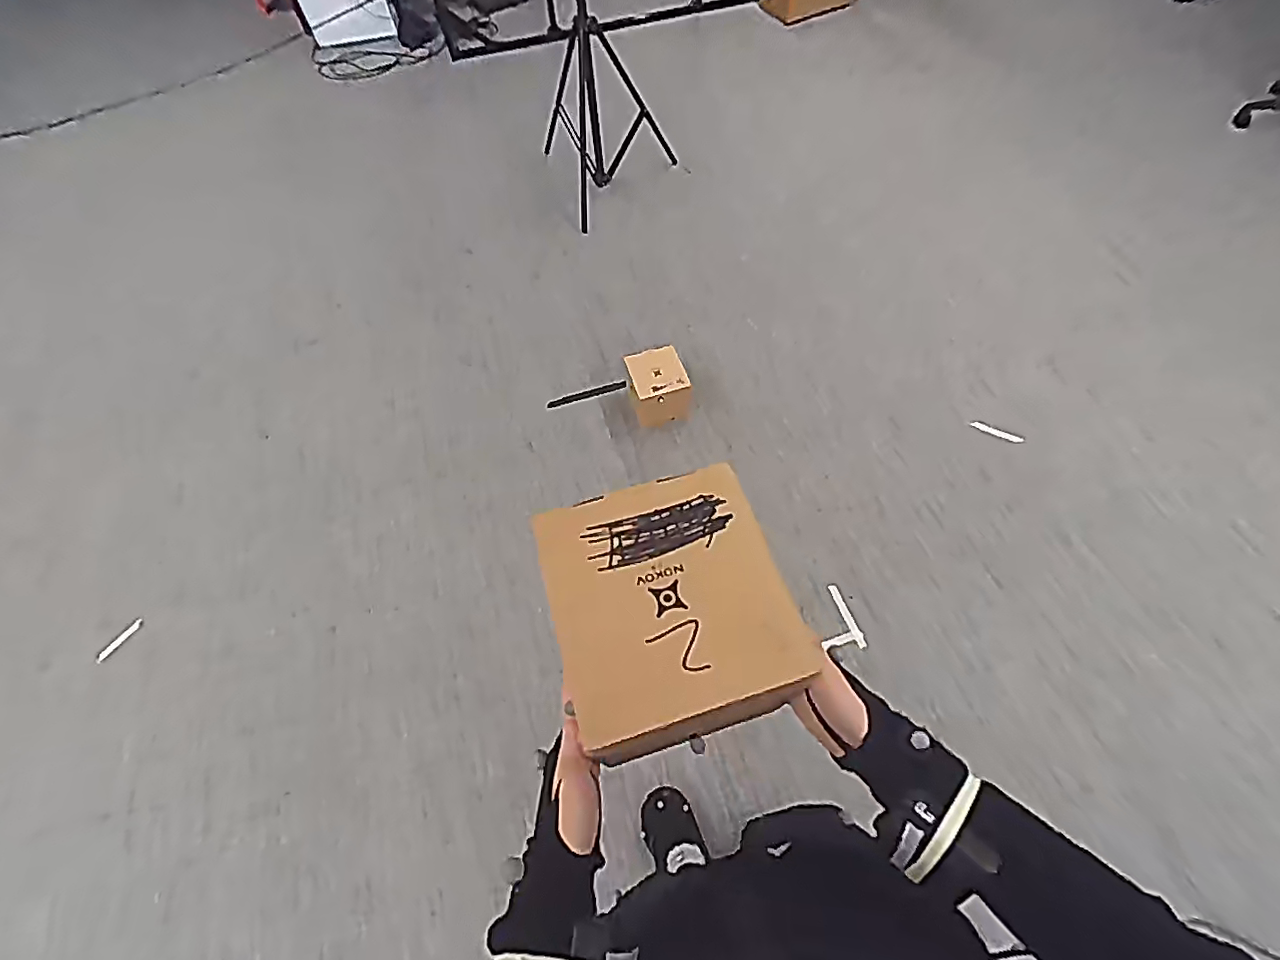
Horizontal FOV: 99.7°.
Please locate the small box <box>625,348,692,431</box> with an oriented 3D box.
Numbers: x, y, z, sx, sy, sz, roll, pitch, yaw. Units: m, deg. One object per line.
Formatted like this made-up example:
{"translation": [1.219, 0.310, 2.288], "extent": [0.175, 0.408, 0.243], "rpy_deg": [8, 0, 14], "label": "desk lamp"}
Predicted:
{"translation": [0.056, -0.285, 1.717], "extent": [0.168, 0.176, 0.179], "rpy_deg": [-17, 60, -6], "label": "small box"}
